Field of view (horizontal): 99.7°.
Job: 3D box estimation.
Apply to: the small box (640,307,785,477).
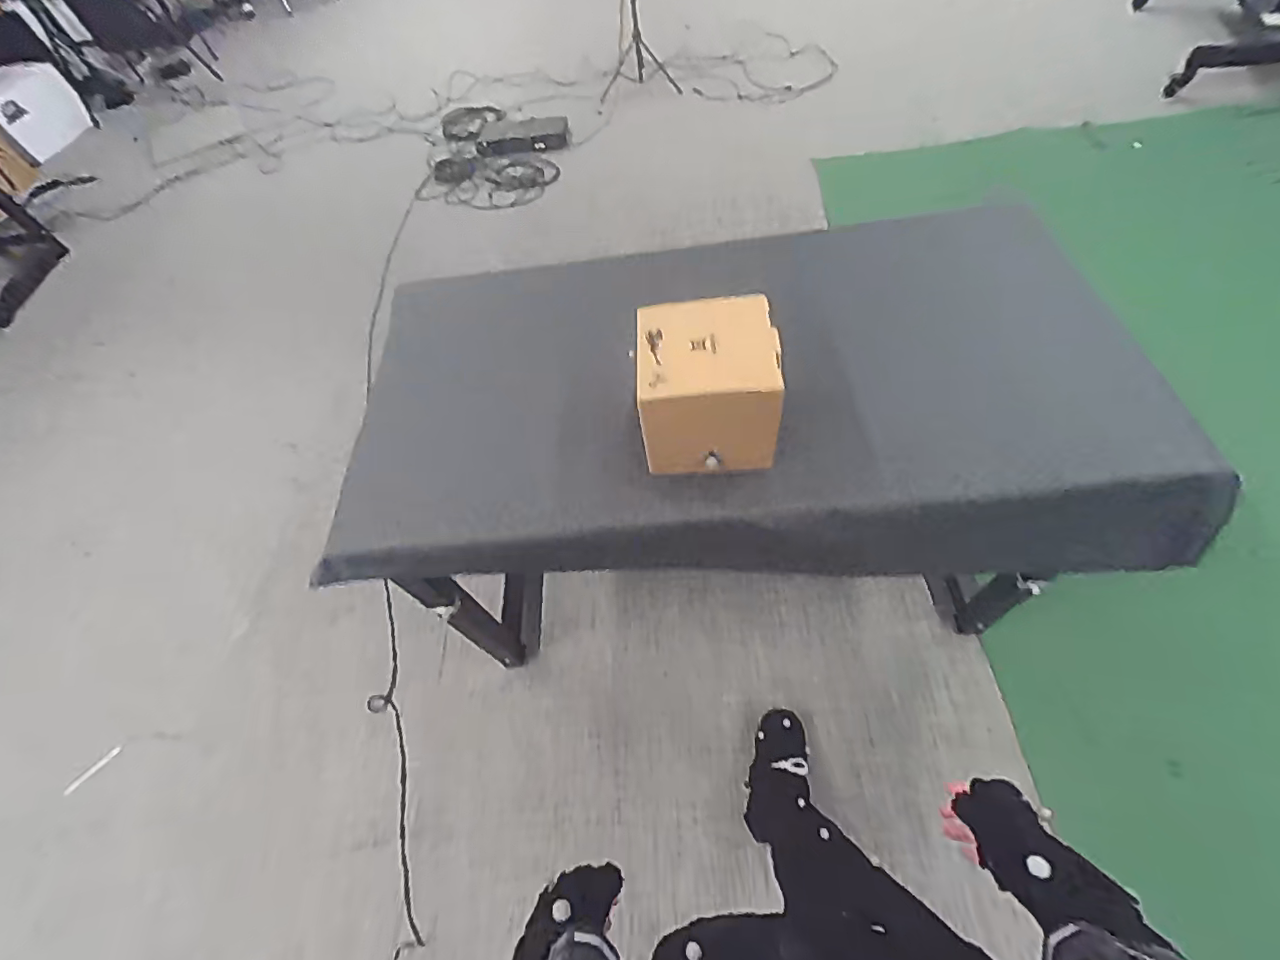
[{"bbox_3d":[0.094,-0.117,0.756,0.179,0.176,0.168,-3,56,5],"label":"small box"}]
